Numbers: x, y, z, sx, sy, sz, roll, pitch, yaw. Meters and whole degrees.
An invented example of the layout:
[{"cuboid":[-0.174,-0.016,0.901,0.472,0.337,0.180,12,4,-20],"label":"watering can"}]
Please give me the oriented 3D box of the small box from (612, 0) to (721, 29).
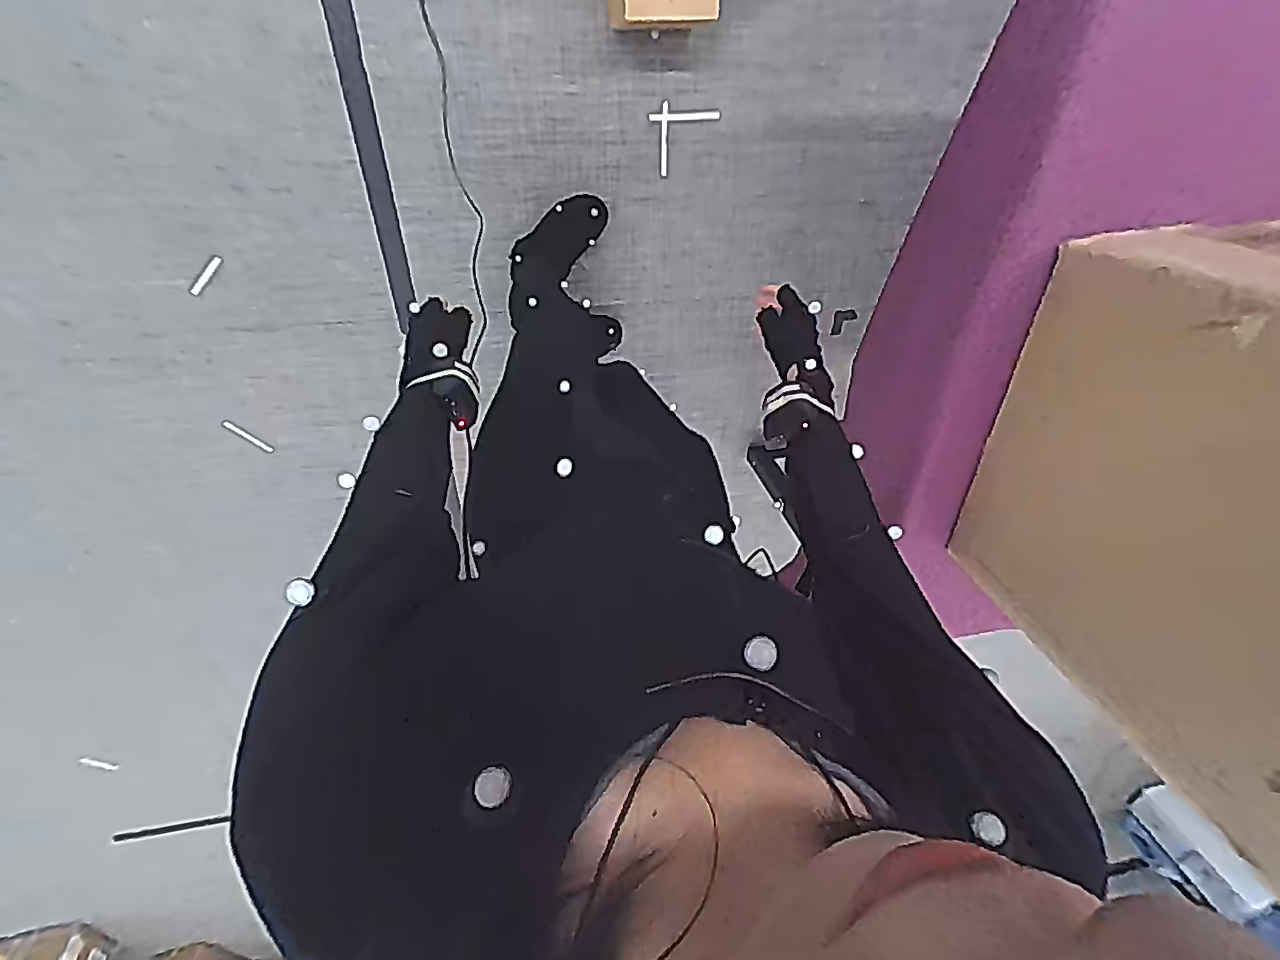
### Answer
[{"cuboid":[0.041,-0.898,0.930,0.168,0.176,0.179,-7,126,-8],"label":"small box"}]
